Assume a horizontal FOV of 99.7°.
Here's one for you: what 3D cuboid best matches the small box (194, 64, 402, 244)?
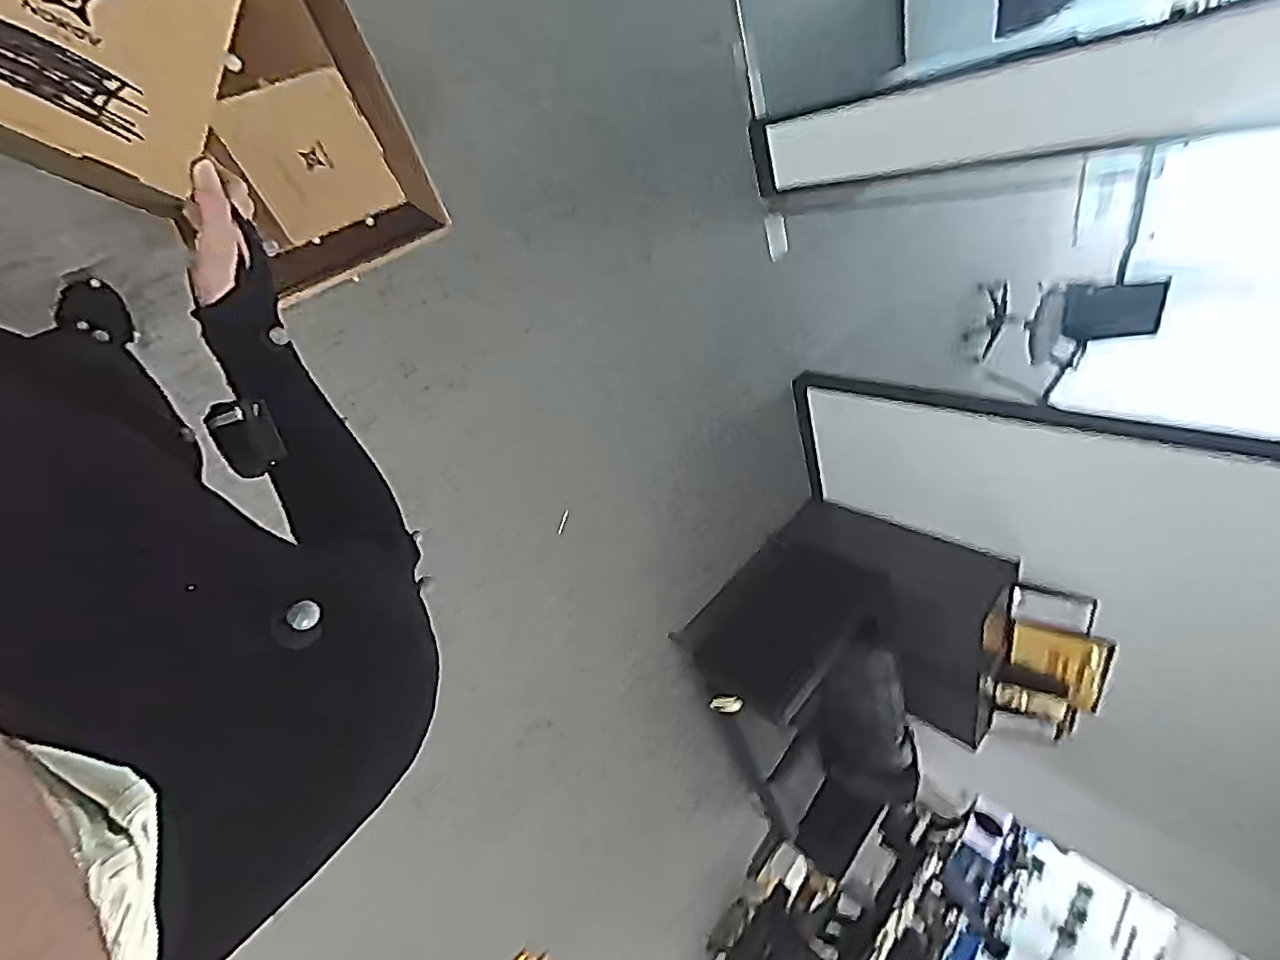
[{"bbox_3d":[-0.483,-0.451,0.764,0.179,0.176,0.168,-40,129,-25],"label":"small box"}]

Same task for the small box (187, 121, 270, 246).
[{"bbox_3d":[-0.590,-0.495,0.879,0.179,0.176,0.168,-41,130,-26],"label":"small box"}]
